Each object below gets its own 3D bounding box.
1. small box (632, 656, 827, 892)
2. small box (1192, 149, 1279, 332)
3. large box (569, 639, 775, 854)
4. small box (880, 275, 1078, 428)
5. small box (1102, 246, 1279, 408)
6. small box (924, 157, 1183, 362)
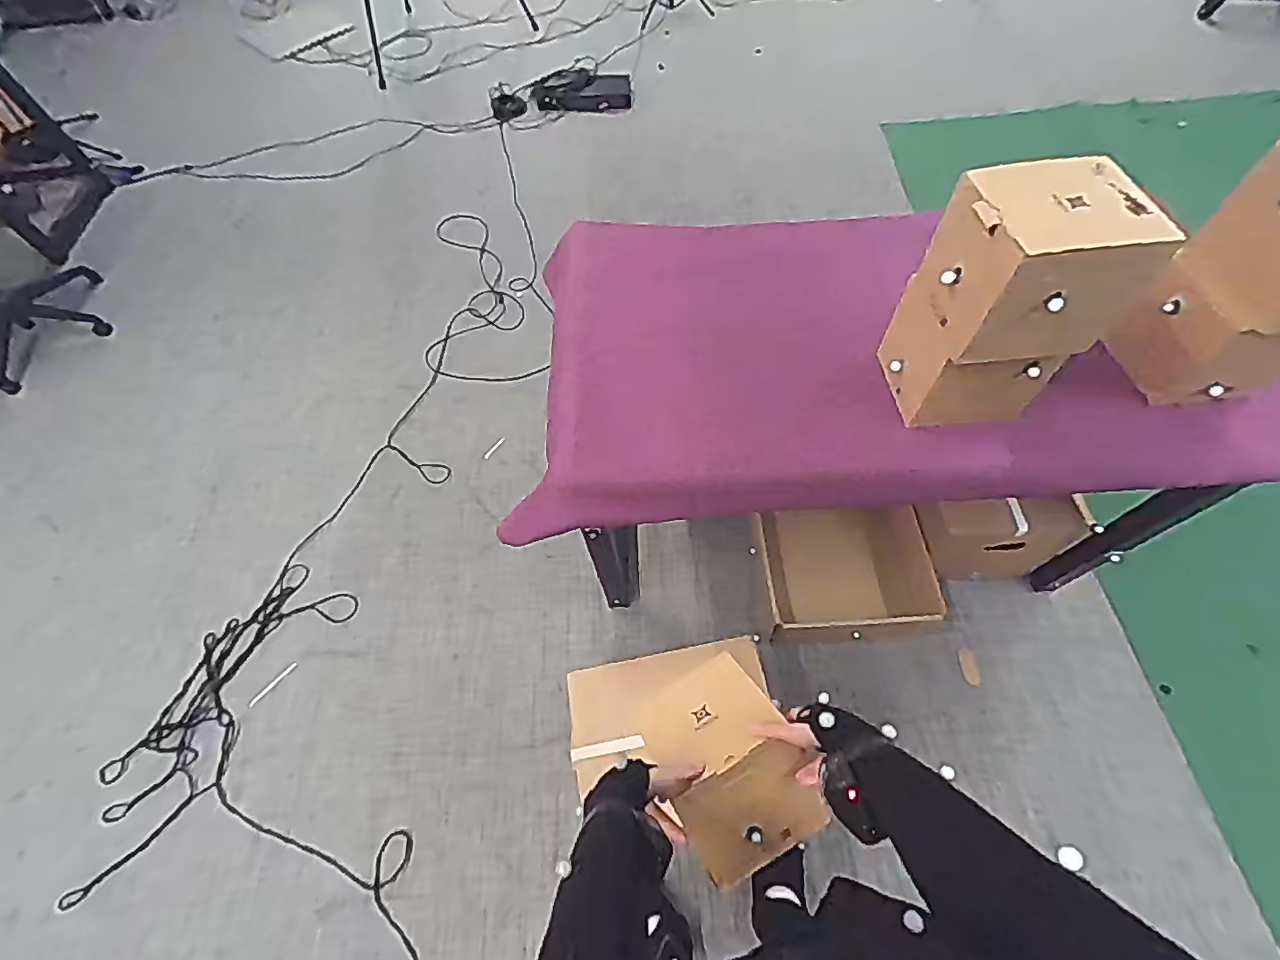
[{"bbox_3d":[0.113,0.377,0.712,0.168,0.176,0.179,-28,19,-10],"label":"small box"},{"bbox_3d":[0.866,-0.309,0.667,0.168,0.176,0.179,-7,58,3],"label":"small box"},{"bbox_3d":[0.083,0.578,1.173,0.408,0.320,0.320,-11,59,-3],"label":"large box"},{"bbox_3d":[0.497,-0.195,0.822,0.179,0.176,0.168,-5,58,2],"label":"small box"},{"bbox_3d":[0.861,-0.233,0.813,0.168,0.176,0.179,-7,58,2],"label":"small box"},{"bbox_3d":[0.481,-0.264,0.672,0.179,0.176,0.168,-6,59,2],"label":"small box"}]
